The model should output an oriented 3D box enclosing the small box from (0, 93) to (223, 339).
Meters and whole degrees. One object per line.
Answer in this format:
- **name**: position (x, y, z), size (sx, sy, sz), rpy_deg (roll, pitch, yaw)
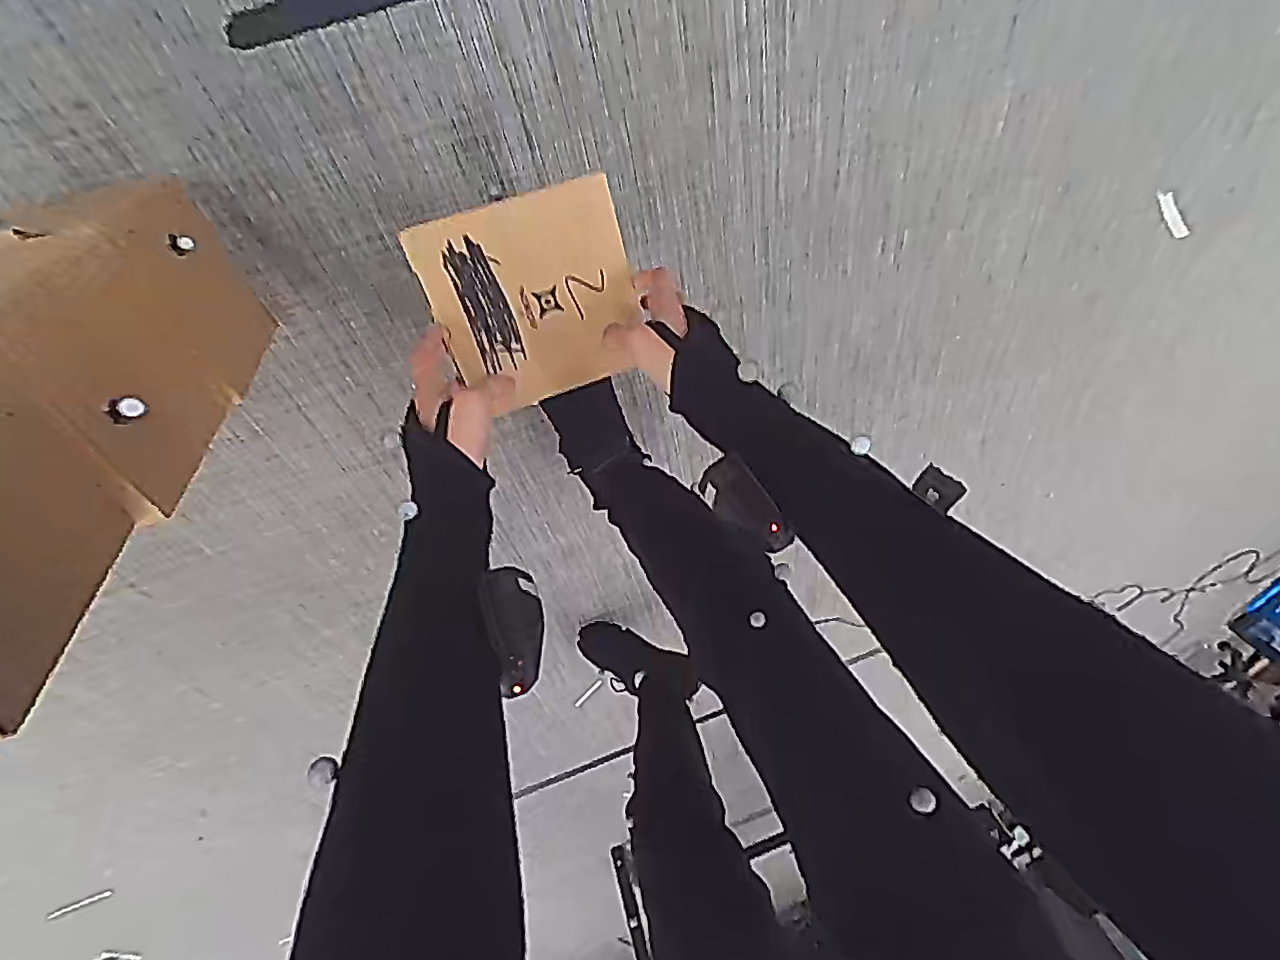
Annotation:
- **small box**: position (-0.524, -0.222, 0.480), size (0.168, 0.176, 0.179), rpy_deg (-17, 134, -6)
